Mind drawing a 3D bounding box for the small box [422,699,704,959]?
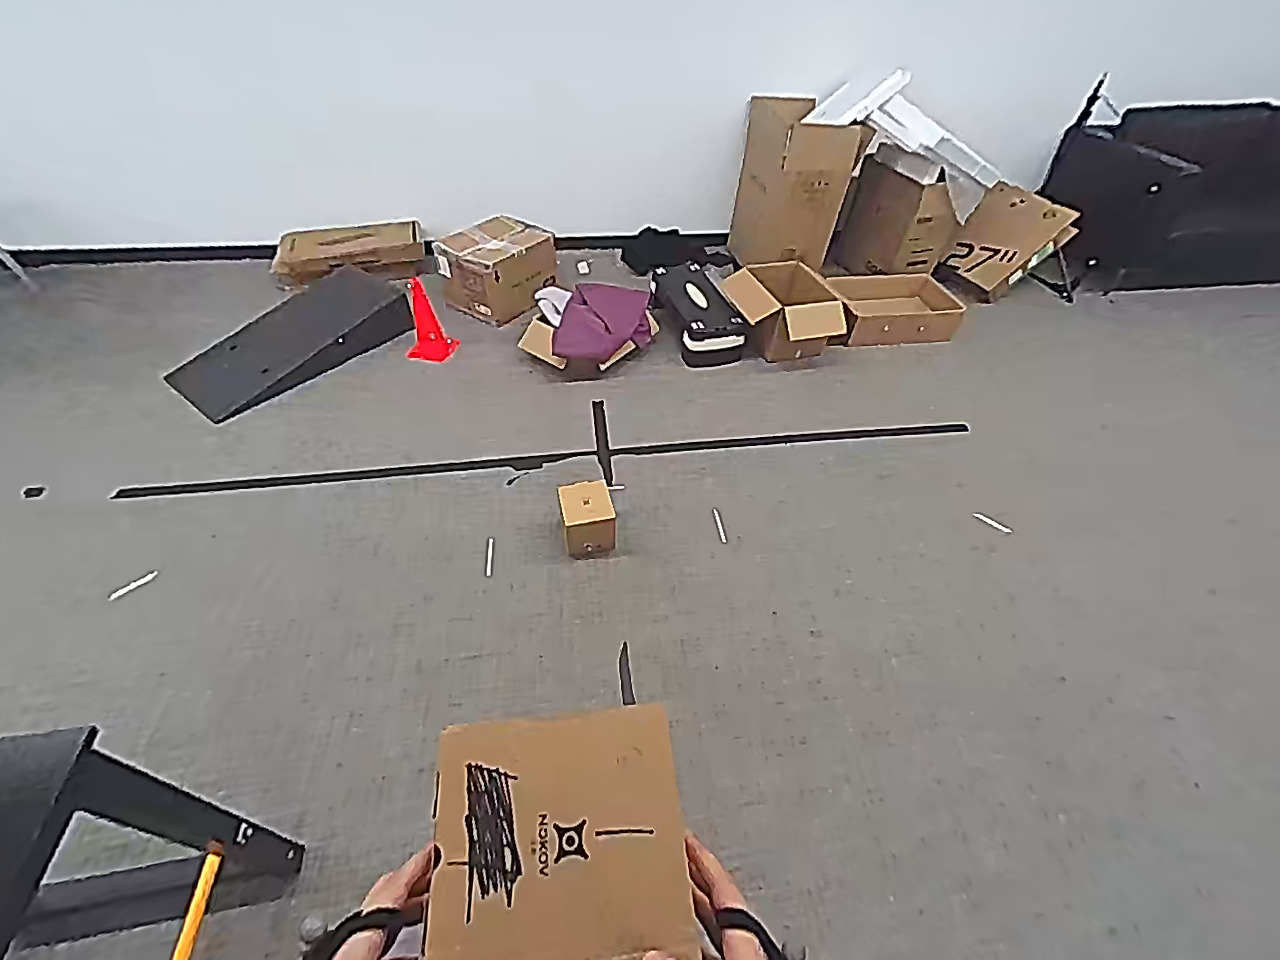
[{"bbox_3d":[-0.054,0.290,0.433,0.179,0.176,0.168,-5,55,-5],"label":"small box"}]

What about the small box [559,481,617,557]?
[{"bbox_3d":[-0.177,0.132,1.825,0.168,0.176,0.179,-11,49,-11],"label":"small box"}]
